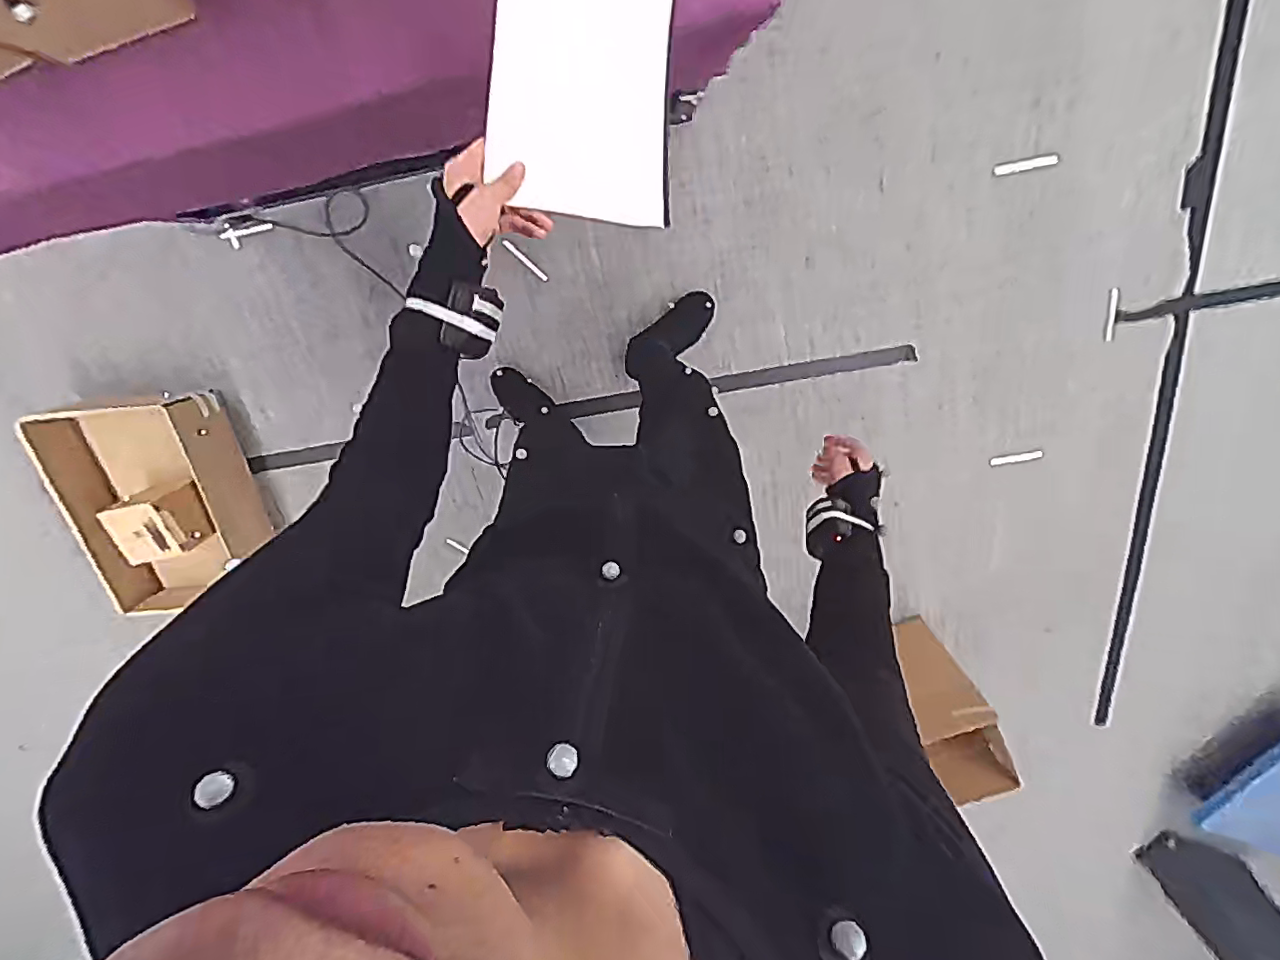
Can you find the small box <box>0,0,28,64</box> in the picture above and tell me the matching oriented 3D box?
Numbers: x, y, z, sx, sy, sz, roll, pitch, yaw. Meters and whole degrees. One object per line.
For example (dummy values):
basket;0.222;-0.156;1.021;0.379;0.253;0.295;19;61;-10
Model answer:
small box;-0.803;-0.517;0.534;0.168;0.176;0.179;-17;112;6
